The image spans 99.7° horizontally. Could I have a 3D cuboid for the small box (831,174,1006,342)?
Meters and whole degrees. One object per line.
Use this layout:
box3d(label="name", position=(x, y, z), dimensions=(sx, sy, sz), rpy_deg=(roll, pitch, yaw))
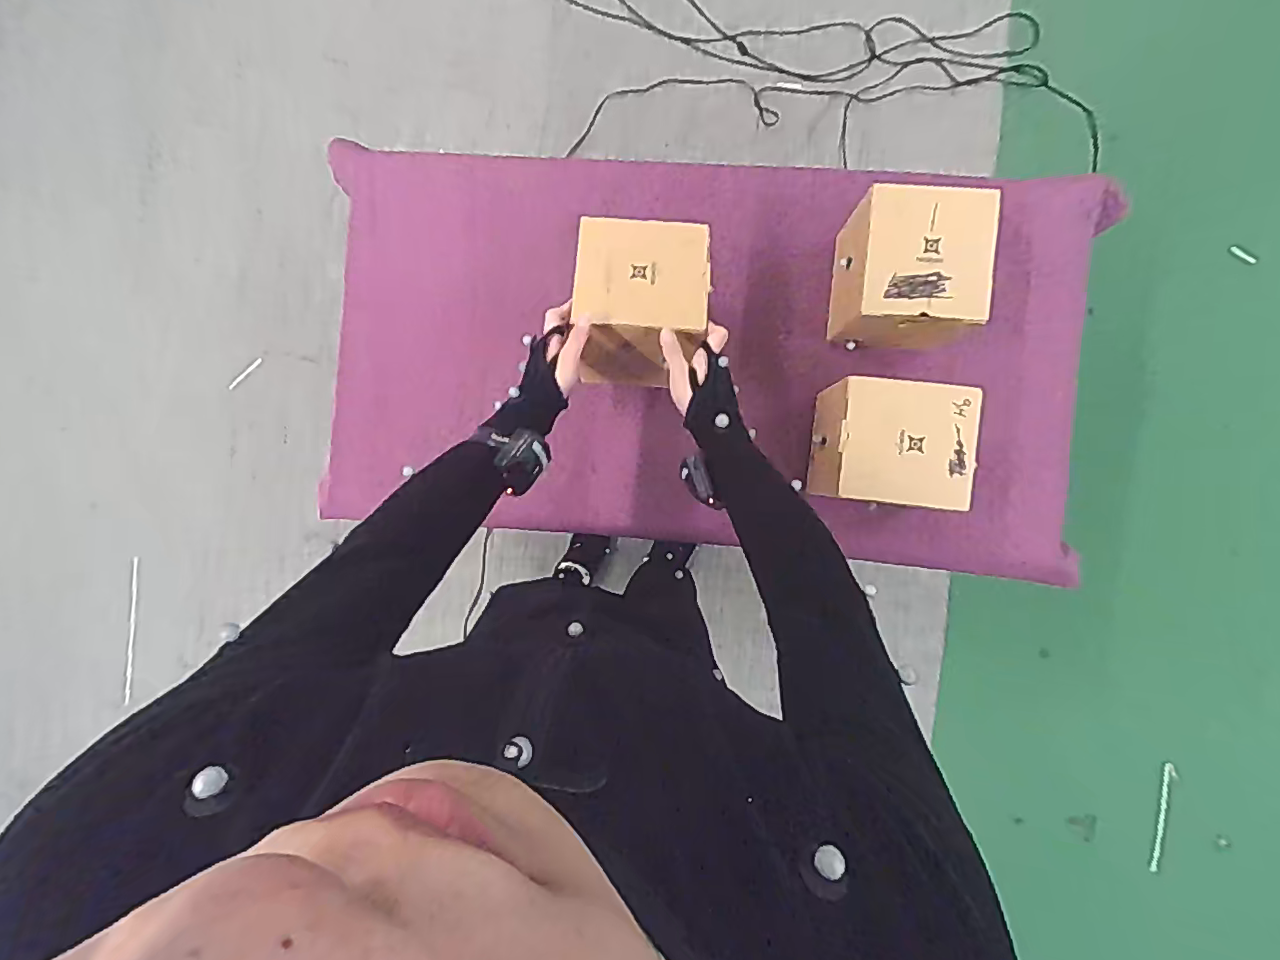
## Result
box3d(label="small box", position=(0.382, -0.304, 0.774), dimensions=(0.168, 0.176, 0.179), rpy_deg=(5, 91, 4))

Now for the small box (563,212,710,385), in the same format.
box3d(label="small box", position=(-0.003, -0.243, 0.760), dimensions=(0.179, 0.176, 0.168), rpy_deg=(4, 75, 1))

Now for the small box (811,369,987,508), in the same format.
box3d(label="small box", position=(0.357, -0.054, 0.781), dimensions=(0.179, 0.176, 0.168), rpy_deg=(7, 91, 5))
